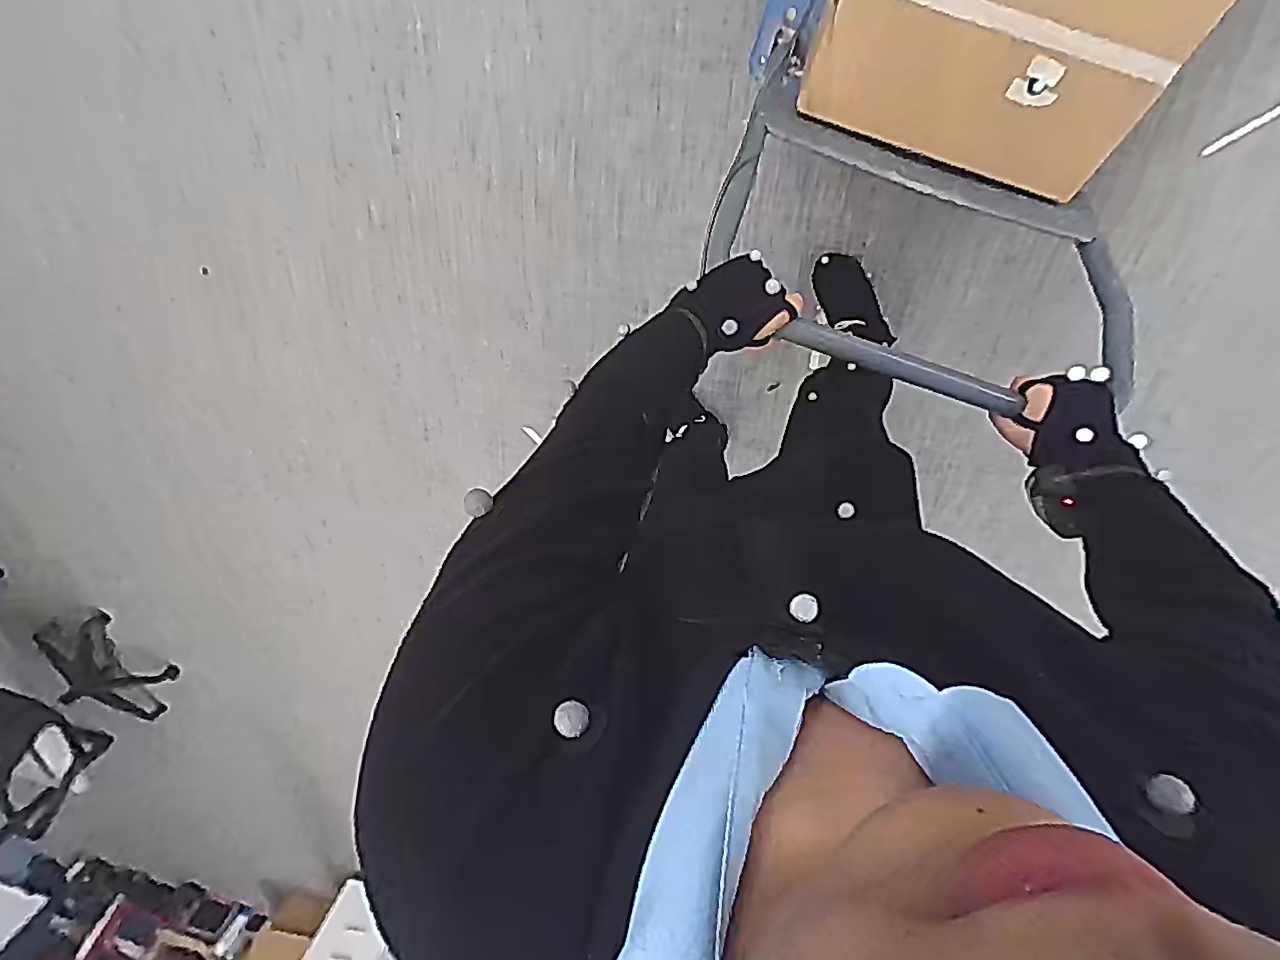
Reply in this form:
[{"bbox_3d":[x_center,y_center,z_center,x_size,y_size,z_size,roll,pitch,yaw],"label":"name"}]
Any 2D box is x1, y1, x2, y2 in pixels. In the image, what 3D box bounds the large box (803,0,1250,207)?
[{"bbox_3d":[0.472,-0.635,0.718,0.408,0.320,0.320,18,143,-1],"label":"large box"}]
